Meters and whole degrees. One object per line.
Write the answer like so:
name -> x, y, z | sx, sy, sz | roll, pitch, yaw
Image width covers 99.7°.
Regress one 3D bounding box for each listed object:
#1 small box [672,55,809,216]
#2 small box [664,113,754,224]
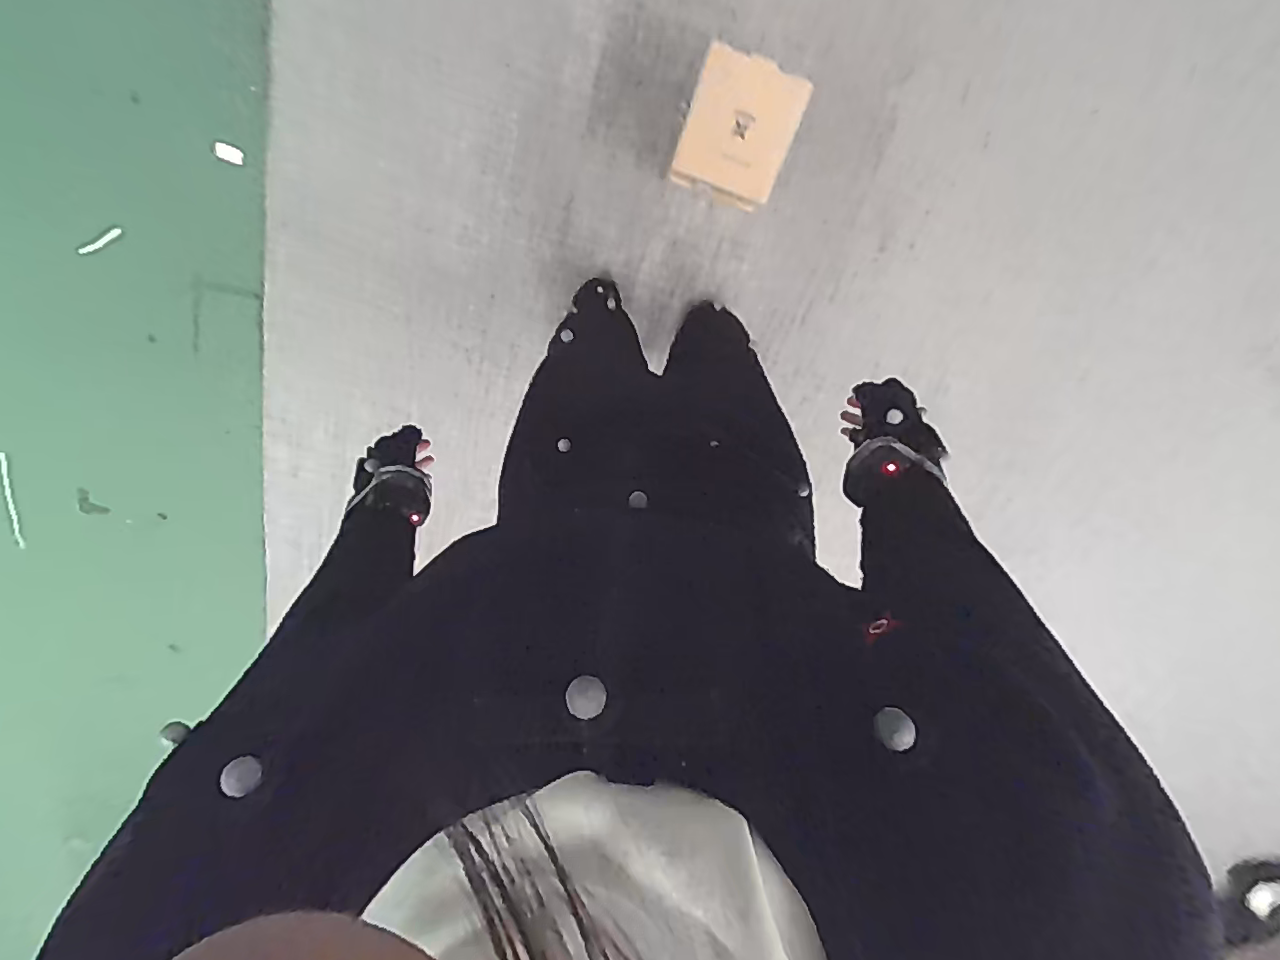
small box -> 0.154, -0.564, 0.912 | 0.168, 0.176, 0.179 | 18, 115, -6
small box -> 0.157, -0.623, 1.064 | 0.179, 0.176, 0.168 | 17, 114, -9
